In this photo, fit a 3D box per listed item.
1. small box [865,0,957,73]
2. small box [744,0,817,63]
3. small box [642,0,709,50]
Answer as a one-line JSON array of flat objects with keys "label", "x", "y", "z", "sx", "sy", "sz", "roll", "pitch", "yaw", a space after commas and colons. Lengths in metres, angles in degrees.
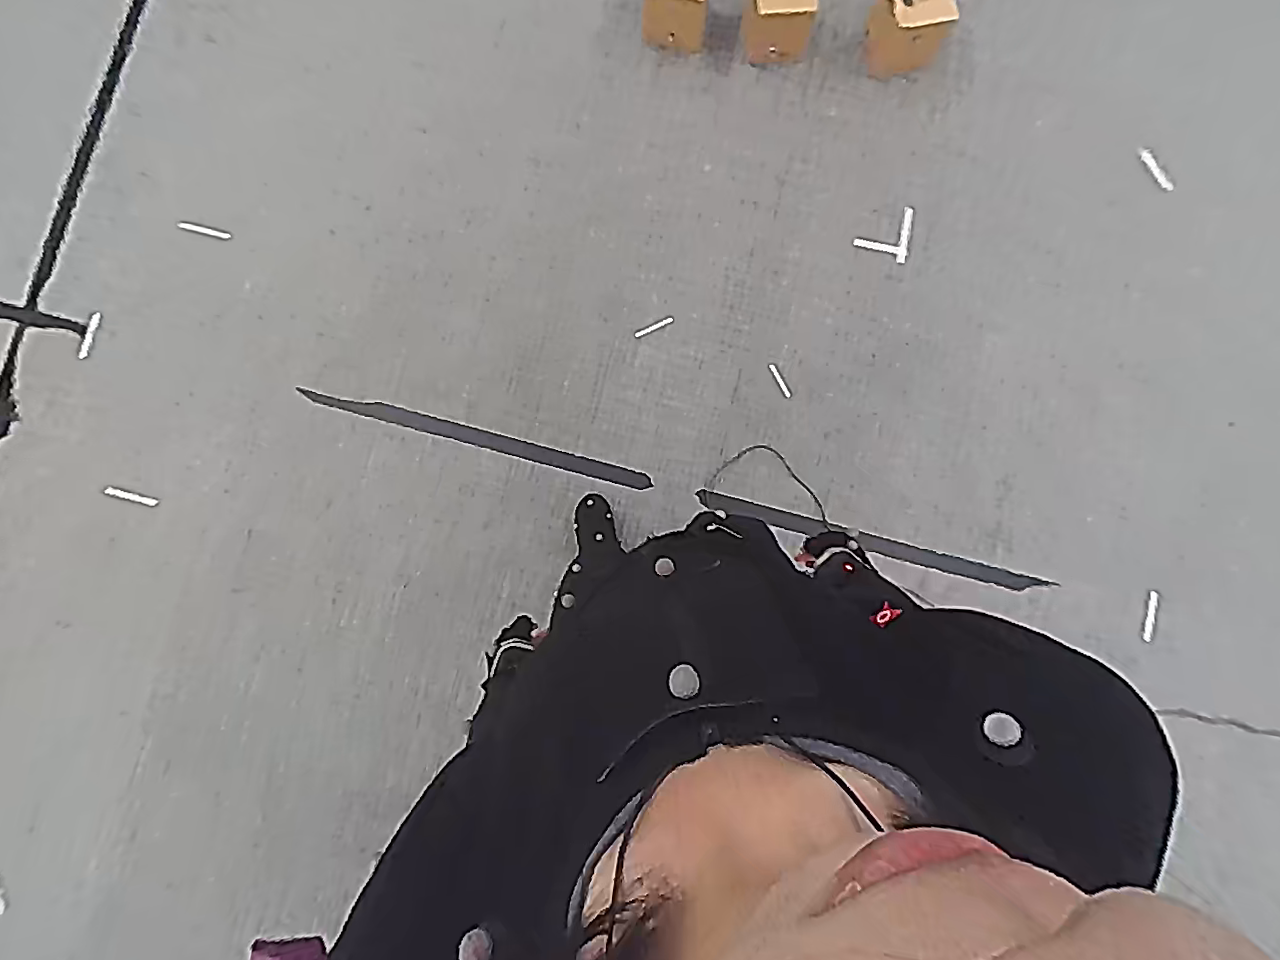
[{"label": "small box", "x": 0.775, "y": -1.330, "z": 1.572, "sx": 0.179, "sy": 0.176, "sz": 0.168, "roll": -11, "pitch": 85, "yaw": -2}, {"label": "small box", "x": 0.403, "y": -1.369, "z": 1.576, "sx": 0.168, "sy": 0.176, "sz": 0.179, "roll": -5, "pitch": 86, "yaw": 1}, {"label": "small box", "x": 0.109, "y": -1.410, "z": 1.580, "sx": 0.179, "sy": 0.176, "sz": 0.168, "roll": 13, "pitch": 85, "yaw": 1}]
